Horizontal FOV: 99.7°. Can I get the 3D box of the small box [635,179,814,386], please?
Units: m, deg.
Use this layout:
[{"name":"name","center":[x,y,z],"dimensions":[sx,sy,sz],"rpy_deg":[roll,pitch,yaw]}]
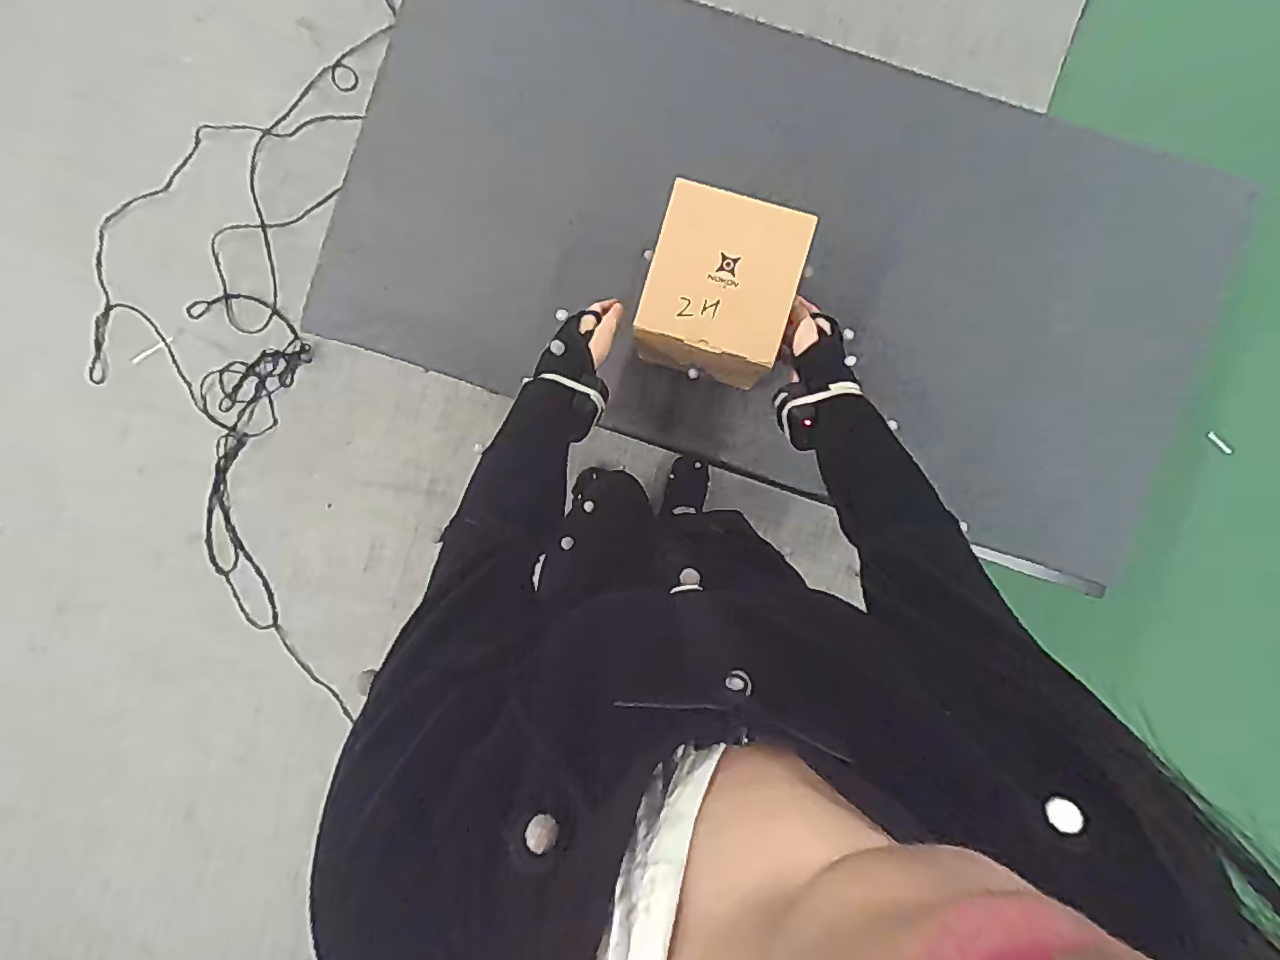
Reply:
[{"name":"small box","center":[0.096,-0.234,0.686],"dimensions":[0.168,0.176,0.179],"rpy_deg":[17,92,2]}]
